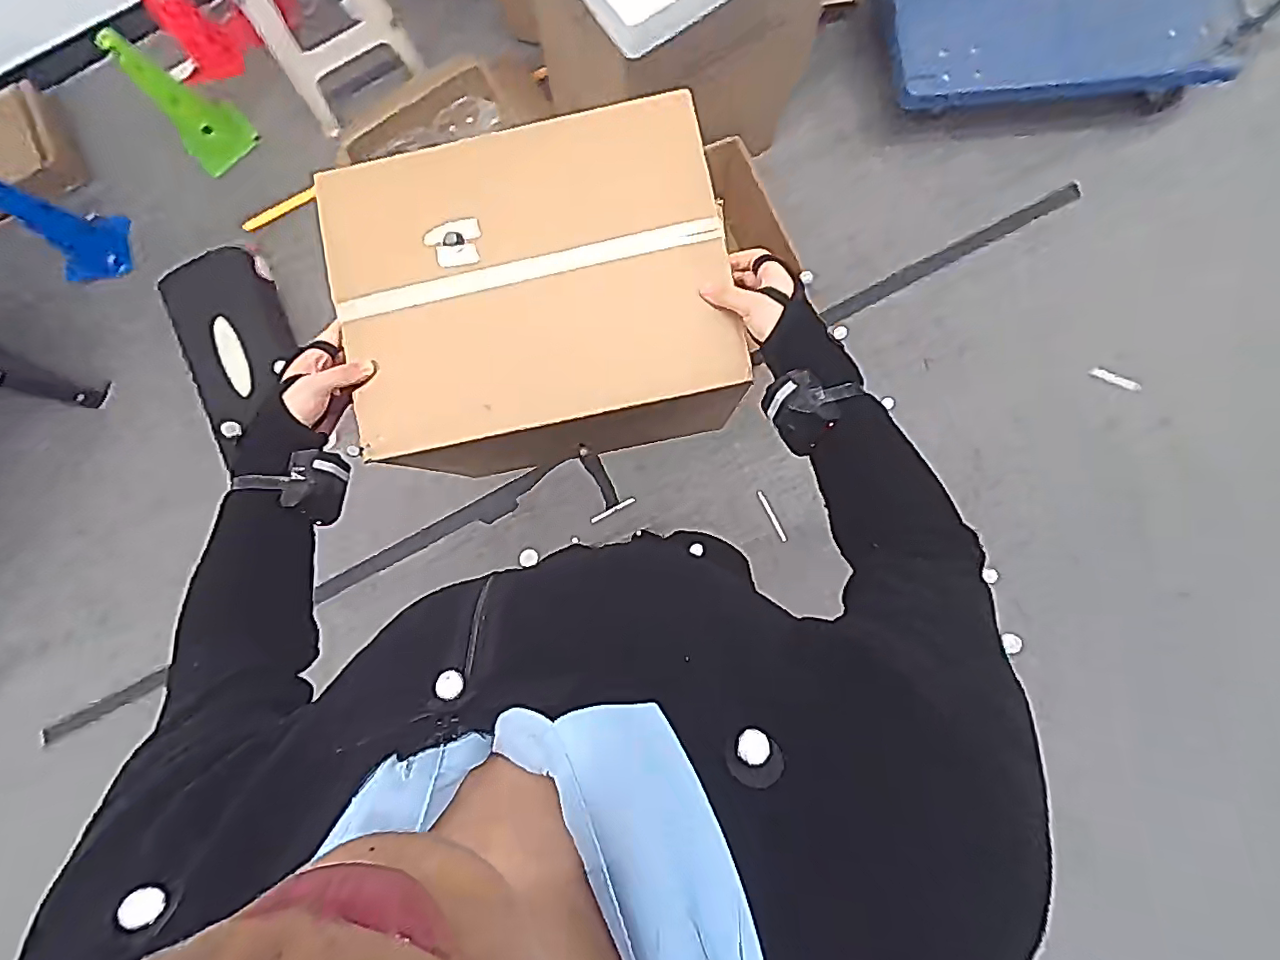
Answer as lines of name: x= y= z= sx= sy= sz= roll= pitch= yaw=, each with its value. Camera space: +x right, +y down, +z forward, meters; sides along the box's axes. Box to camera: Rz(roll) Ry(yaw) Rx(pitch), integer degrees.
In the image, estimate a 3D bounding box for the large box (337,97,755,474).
large box: x=-0.095 y=-0.203 z=0.711 sx=0.408 sy=0.320 sz=0.320 roll=-11 pitch=85 yaw=3
